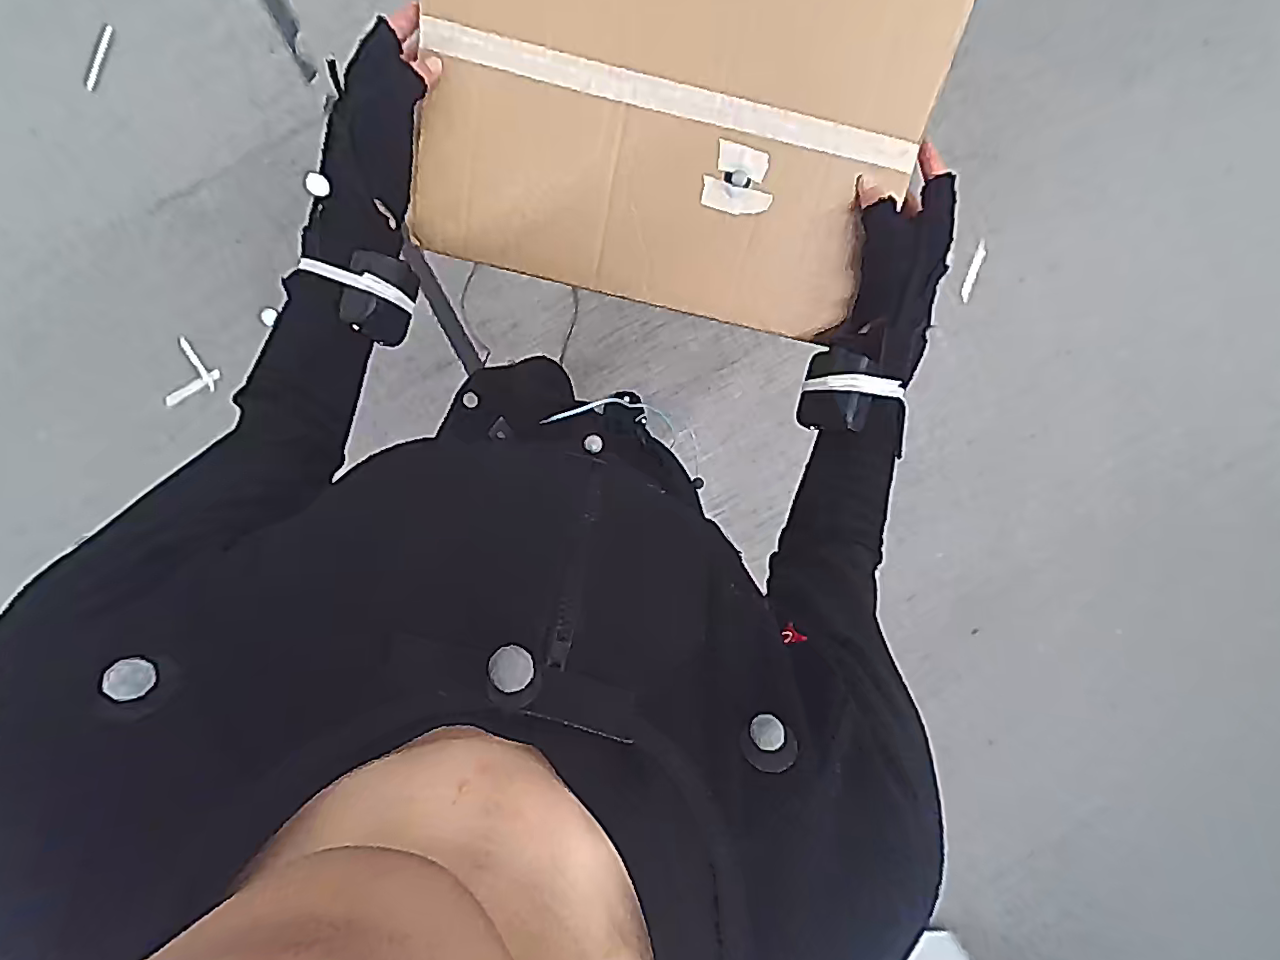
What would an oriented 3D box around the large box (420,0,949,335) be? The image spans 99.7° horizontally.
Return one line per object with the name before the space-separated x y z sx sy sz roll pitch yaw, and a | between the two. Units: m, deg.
large box | 0.024 -0.366 0.581 0.408 0.320 0.320 11 113 -4
